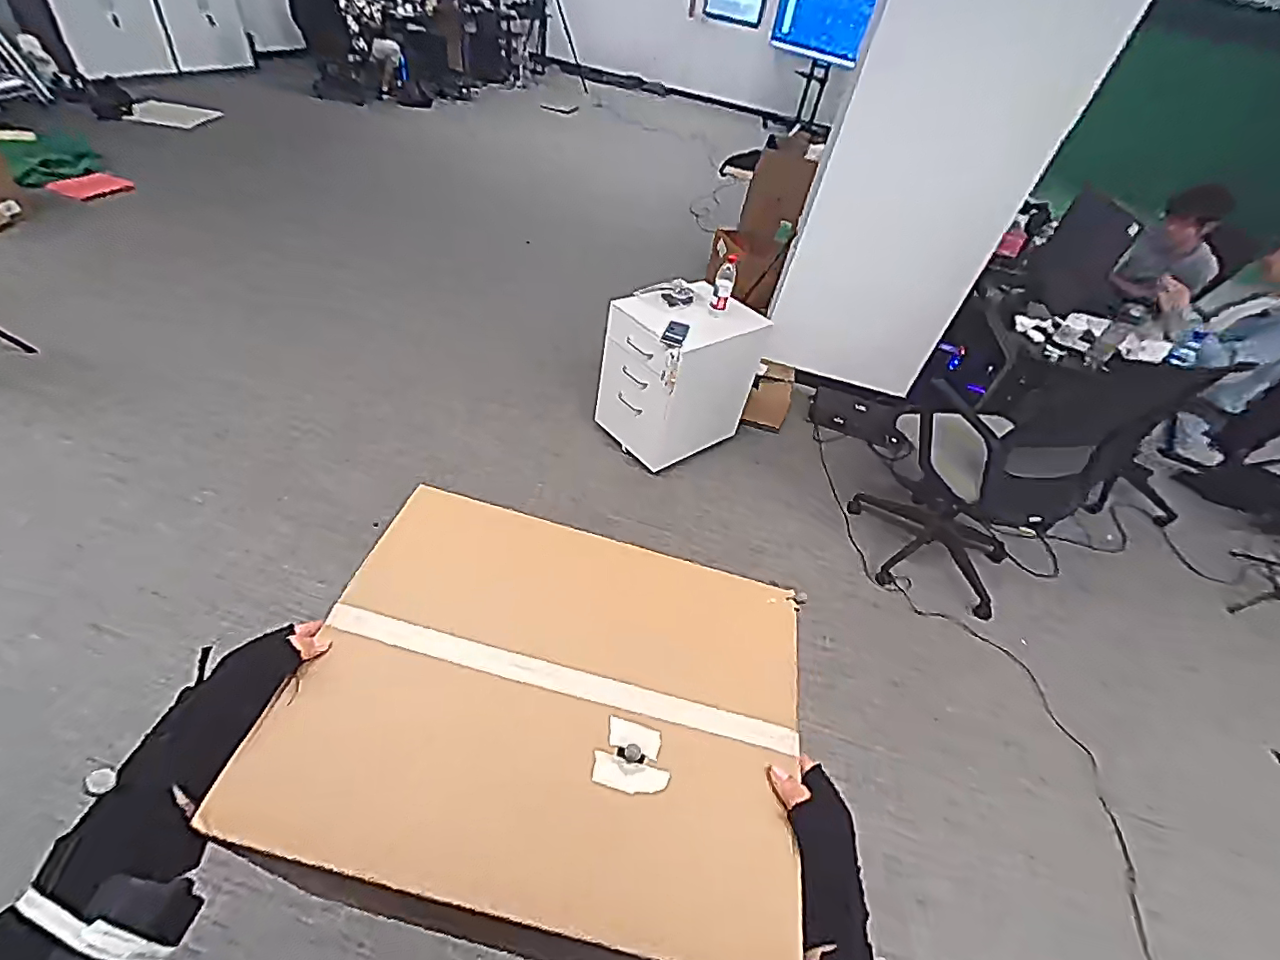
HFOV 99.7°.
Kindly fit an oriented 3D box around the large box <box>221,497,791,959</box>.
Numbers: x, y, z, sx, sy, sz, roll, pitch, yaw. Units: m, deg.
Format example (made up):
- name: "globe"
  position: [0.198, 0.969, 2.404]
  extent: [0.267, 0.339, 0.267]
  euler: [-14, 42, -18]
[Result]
- name: "large box"
  position: [-0.096, 0.272, 0.570]
  extent: [0.408, 0.320, 0.320]
  euler: [16, 46, -2]
